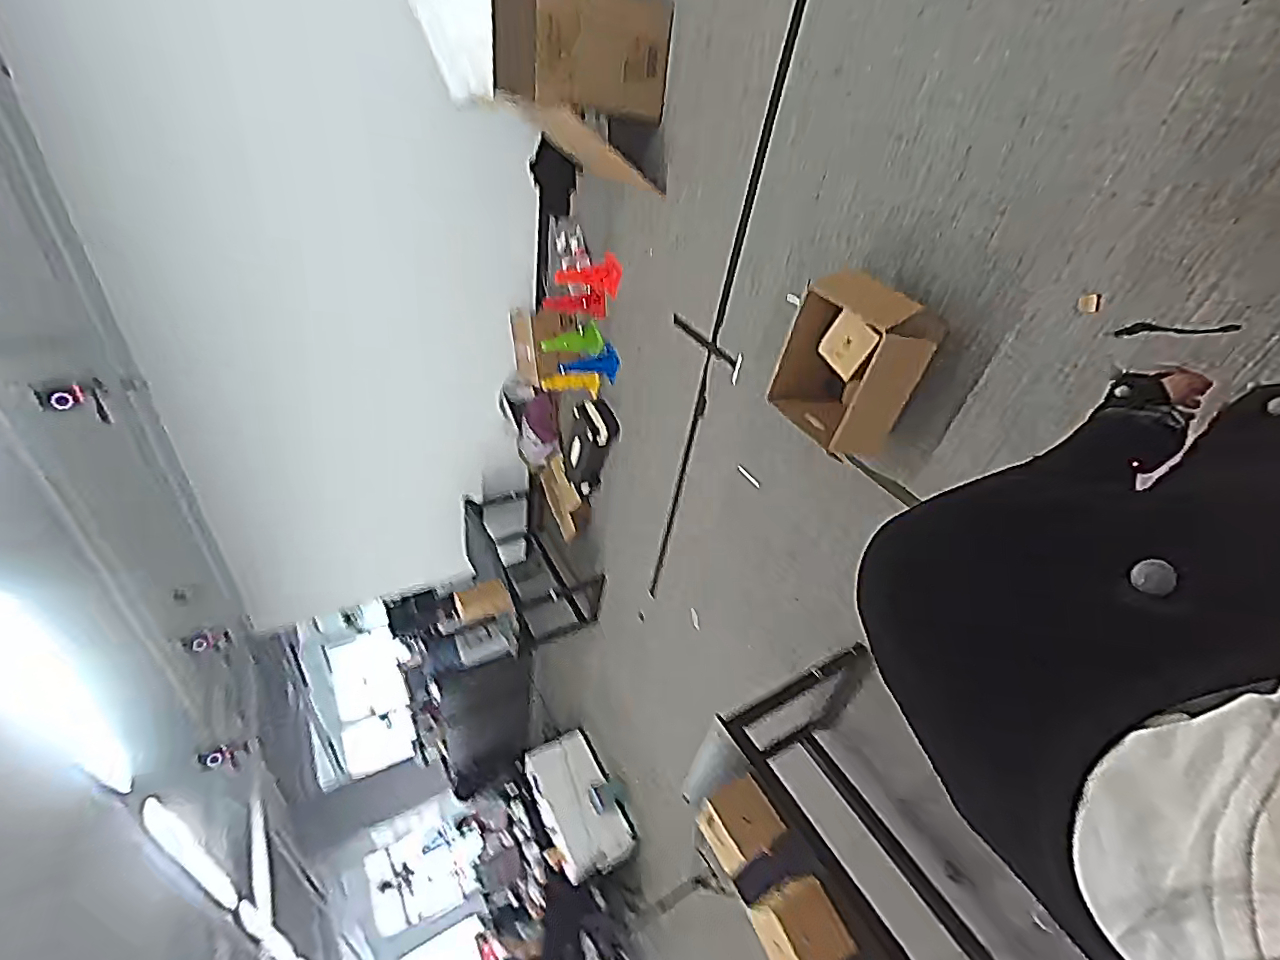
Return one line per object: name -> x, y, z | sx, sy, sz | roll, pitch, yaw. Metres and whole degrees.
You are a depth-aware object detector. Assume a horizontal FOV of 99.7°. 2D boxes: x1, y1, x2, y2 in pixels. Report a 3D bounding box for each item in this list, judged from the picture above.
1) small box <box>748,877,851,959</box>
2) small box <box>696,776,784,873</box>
small box -> 0.436, 1.226, 1.487 | 0.179, 0.176, 0.168 | 58, 147, 28
small box -> 0.300, 1.032, 1.637 | 0.179, 0.176, 0.168 | 50, 142, 36
